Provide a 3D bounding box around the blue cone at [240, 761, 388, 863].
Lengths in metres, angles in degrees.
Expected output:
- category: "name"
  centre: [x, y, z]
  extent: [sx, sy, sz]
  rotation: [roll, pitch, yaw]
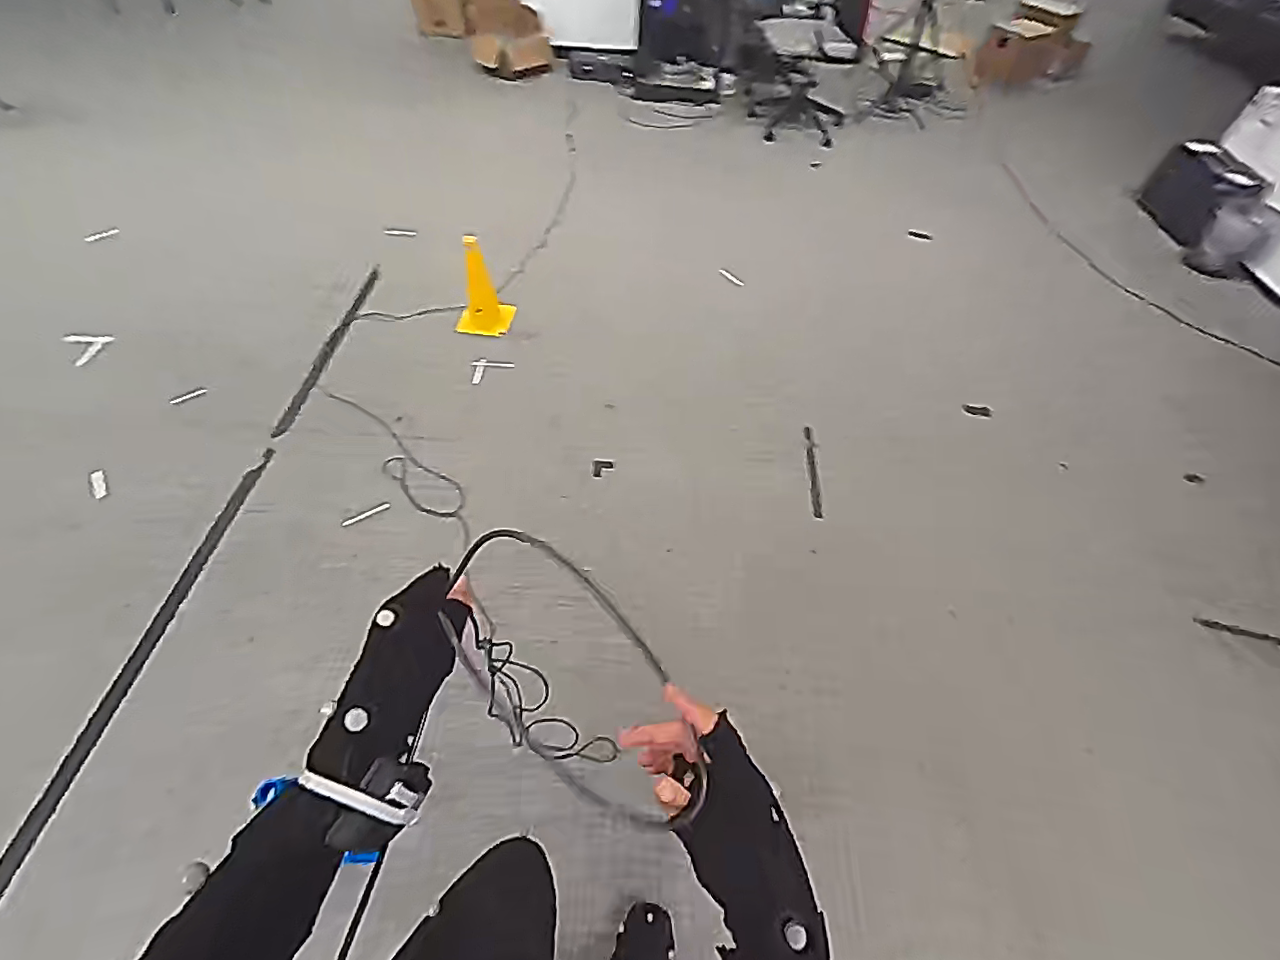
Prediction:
- category: "blue cone"
  centre: [-0.667, 0.643, 1.080]
  extent: [0.192, 0.380, 0.193]
  rotation: [0, 54, -3]
